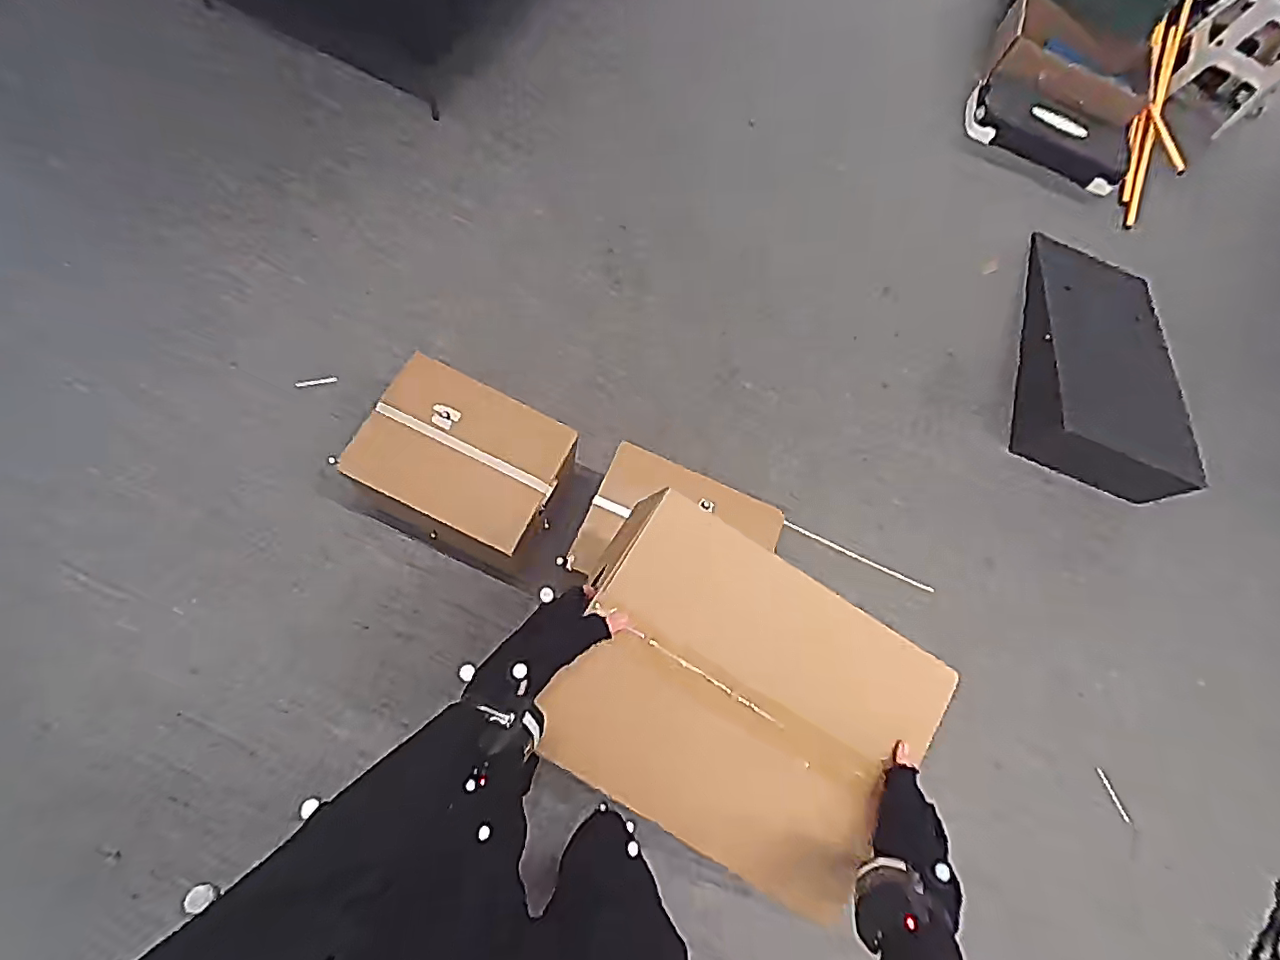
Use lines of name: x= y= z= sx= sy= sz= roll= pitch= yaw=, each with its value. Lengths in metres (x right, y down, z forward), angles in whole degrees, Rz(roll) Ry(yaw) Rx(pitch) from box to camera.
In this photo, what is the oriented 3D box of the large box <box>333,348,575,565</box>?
large box: x=-0.400 y=-0.034 z=1.274 sx=0.408 sy=0.320 sz=0.320 roll=26 pitch=69 yaw=0
